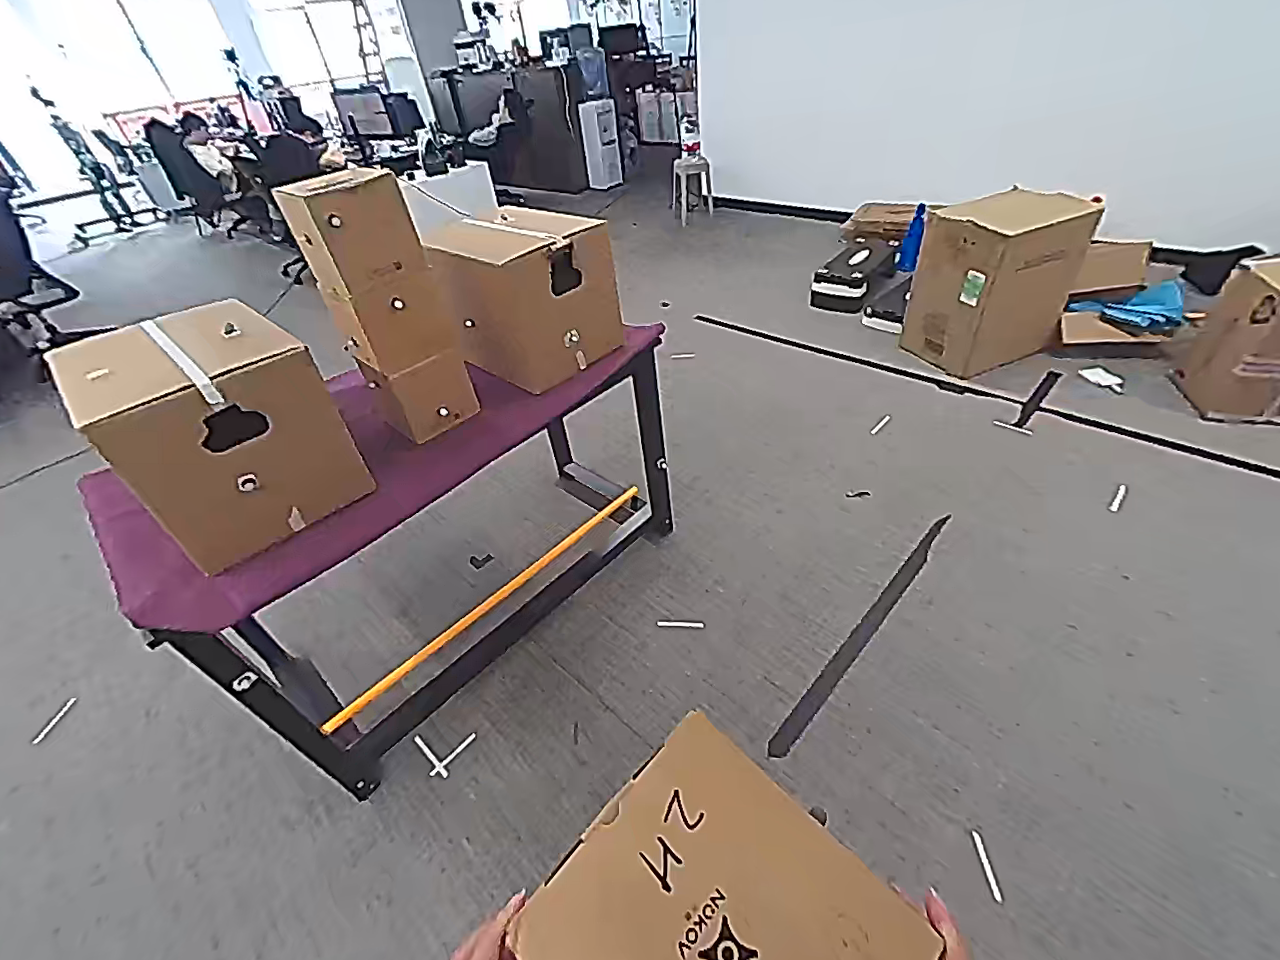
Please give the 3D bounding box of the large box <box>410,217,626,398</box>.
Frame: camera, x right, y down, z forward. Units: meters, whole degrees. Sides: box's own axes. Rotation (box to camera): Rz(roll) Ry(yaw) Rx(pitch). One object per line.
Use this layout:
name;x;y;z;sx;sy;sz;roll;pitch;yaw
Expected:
large box;-0.297;-0.451;1.379;0.408;0.320;0.320;26;50;36
